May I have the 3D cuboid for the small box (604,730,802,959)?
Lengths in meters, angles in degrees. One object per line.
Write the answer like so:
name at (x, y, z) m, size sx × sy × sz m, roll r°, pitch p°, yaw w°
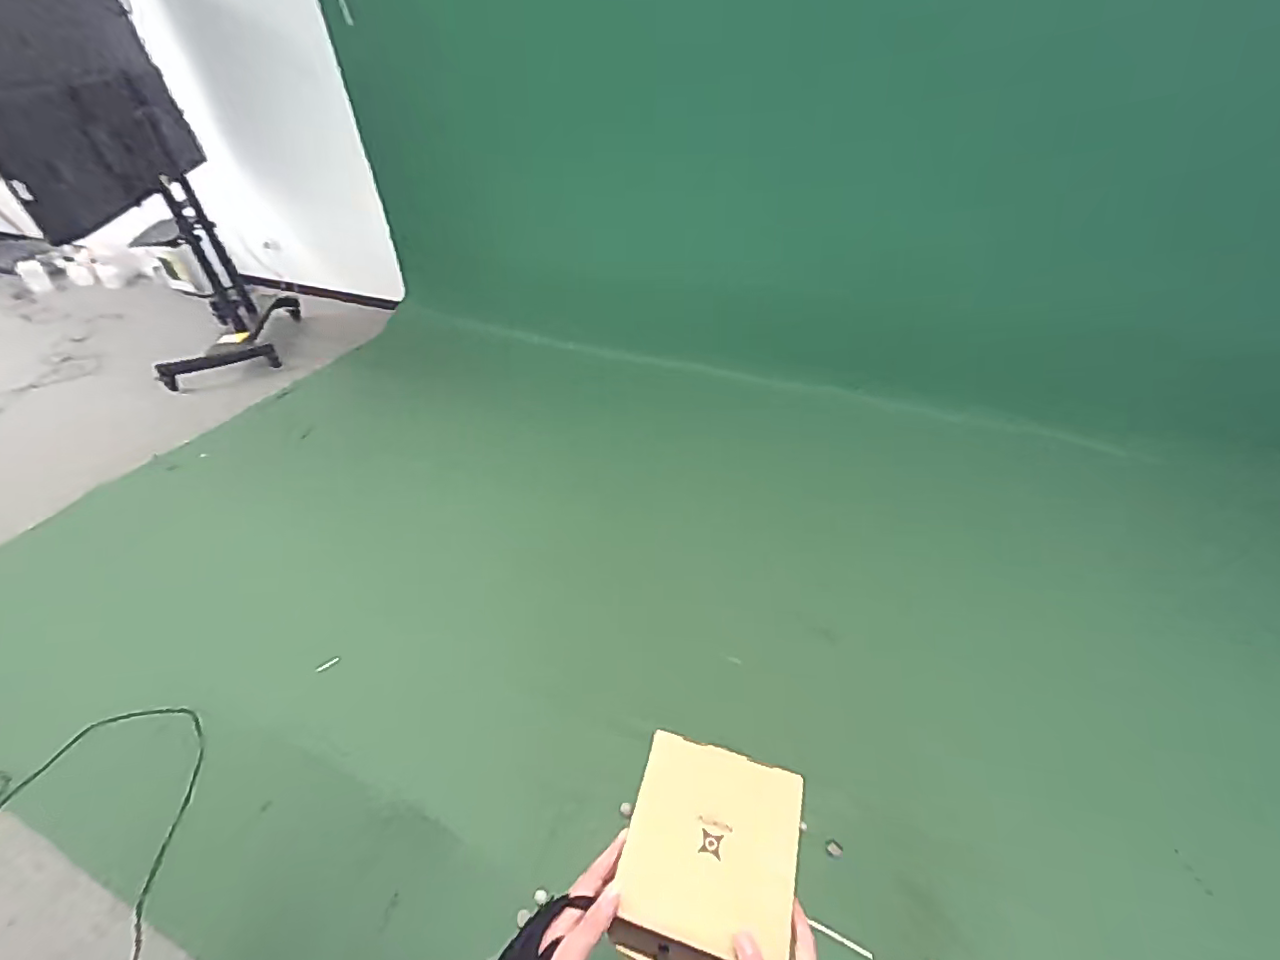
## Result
small box at (0.069, 0.413, 0.585) m, size 0.168 × 0.176 × 0.179 m, roll 13°, pitch 42°, yaw 12°
